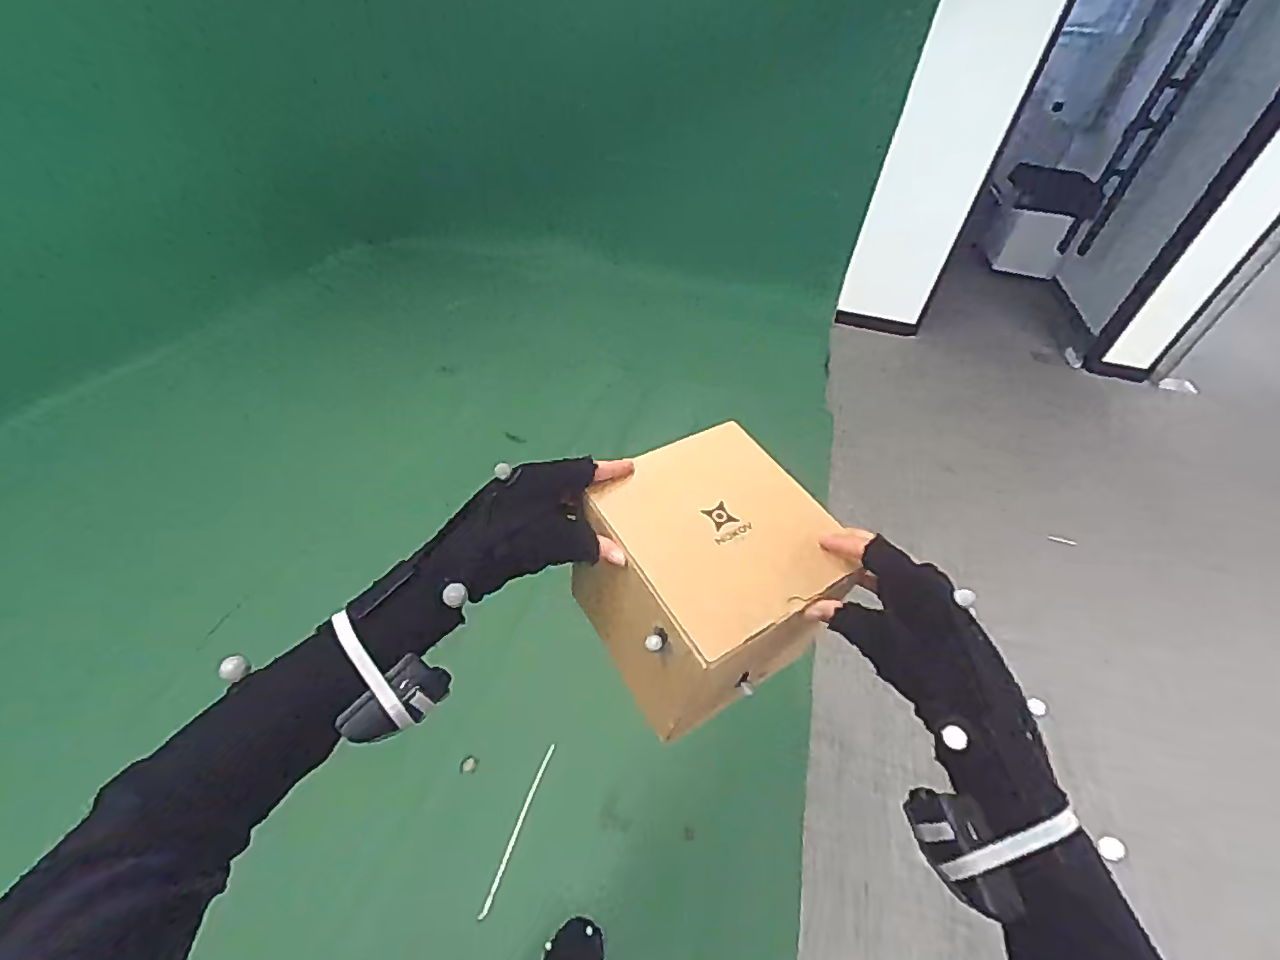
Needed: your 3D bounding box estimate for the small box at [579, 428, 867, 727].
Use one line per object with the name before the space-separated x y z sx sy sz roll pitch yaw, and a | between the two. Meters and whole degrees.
small box | 0.055 0.086 0.490 0.168 0.176 0.179 -21 57 -26
